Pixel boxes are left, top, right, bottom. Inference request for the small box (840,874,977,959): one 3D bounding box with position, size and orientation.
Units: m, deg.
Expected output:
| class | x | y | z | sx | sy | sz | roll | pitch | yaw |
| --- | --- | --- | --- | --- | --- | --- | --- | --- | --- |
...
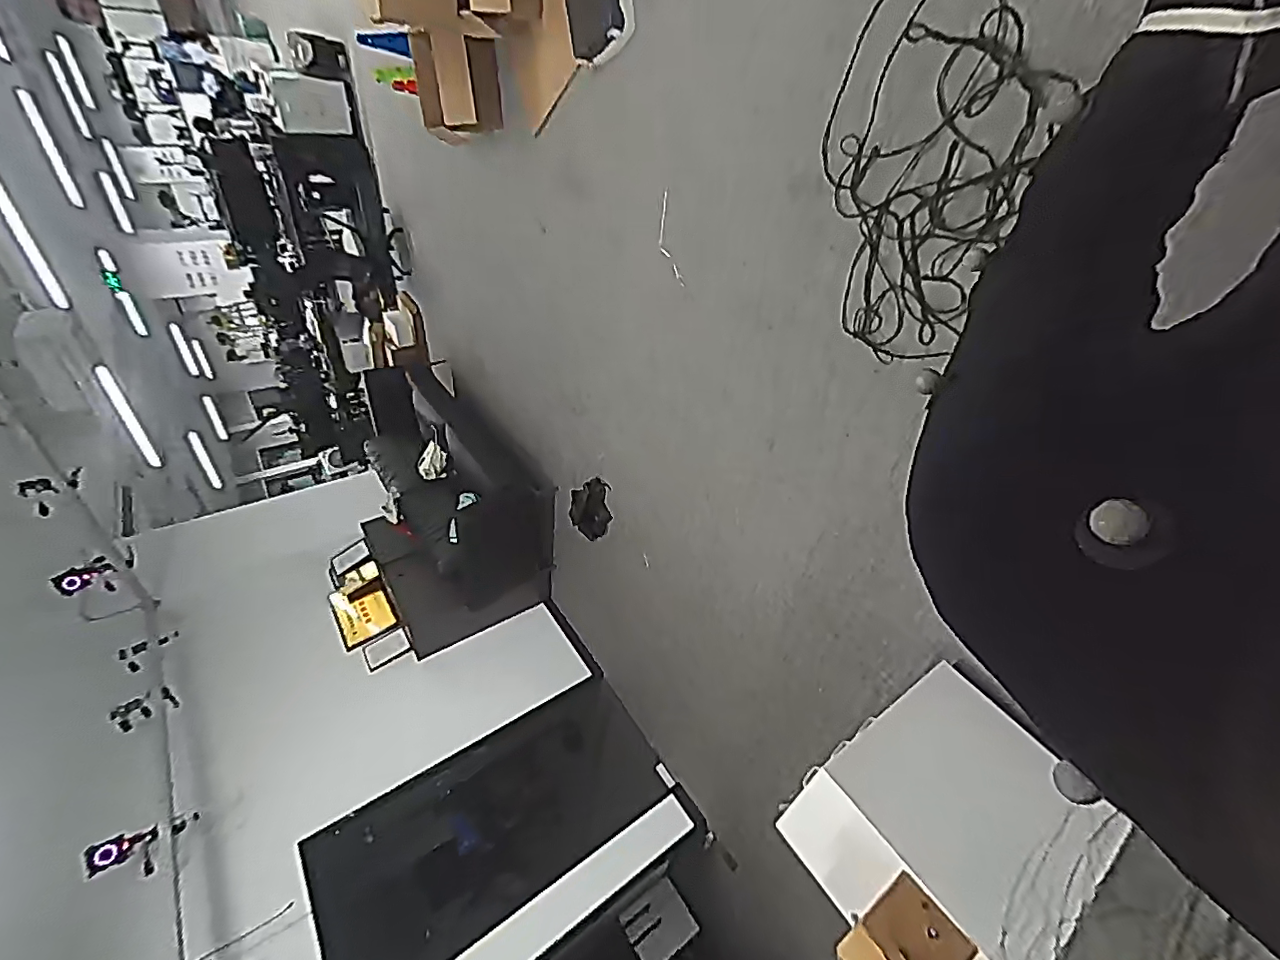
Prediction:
| class | x | y | z | sx | sy | sz | roll | pitch | yaw |
| --- | --- | --- | --- | --- | --- | --- | --- | --- | --- |
| small box | 0.550 | 0.968 | 1.112 | 0.168 | 0.176 | 0.179 | 41 | 140 | 41 |
